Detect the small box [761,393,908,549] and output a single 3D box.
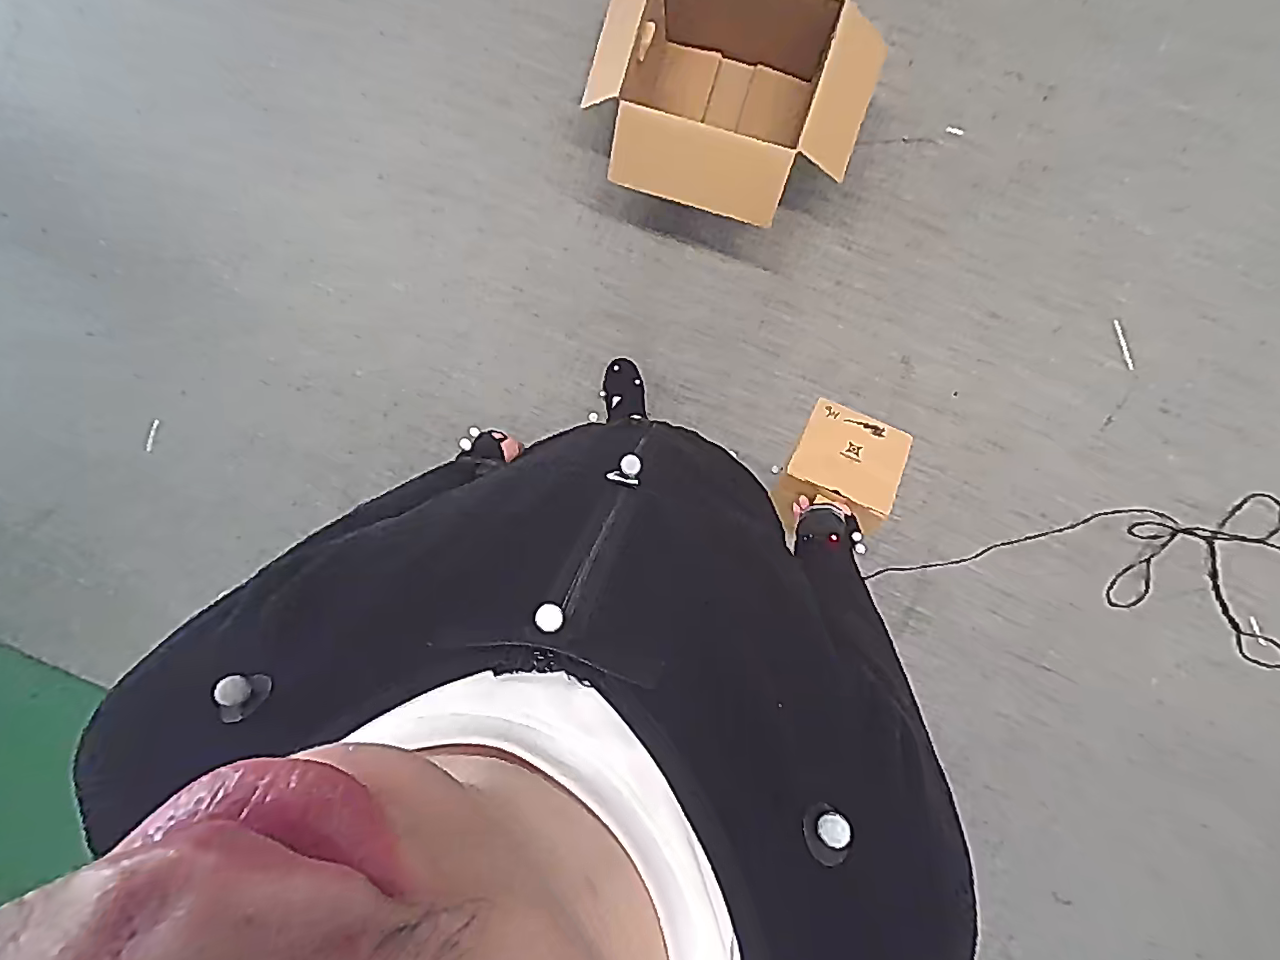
[{"bbox_3d":[0.322,-0.009,0.927,0.168,0.176,0.179,27,61,12],"label":"small box"}]
